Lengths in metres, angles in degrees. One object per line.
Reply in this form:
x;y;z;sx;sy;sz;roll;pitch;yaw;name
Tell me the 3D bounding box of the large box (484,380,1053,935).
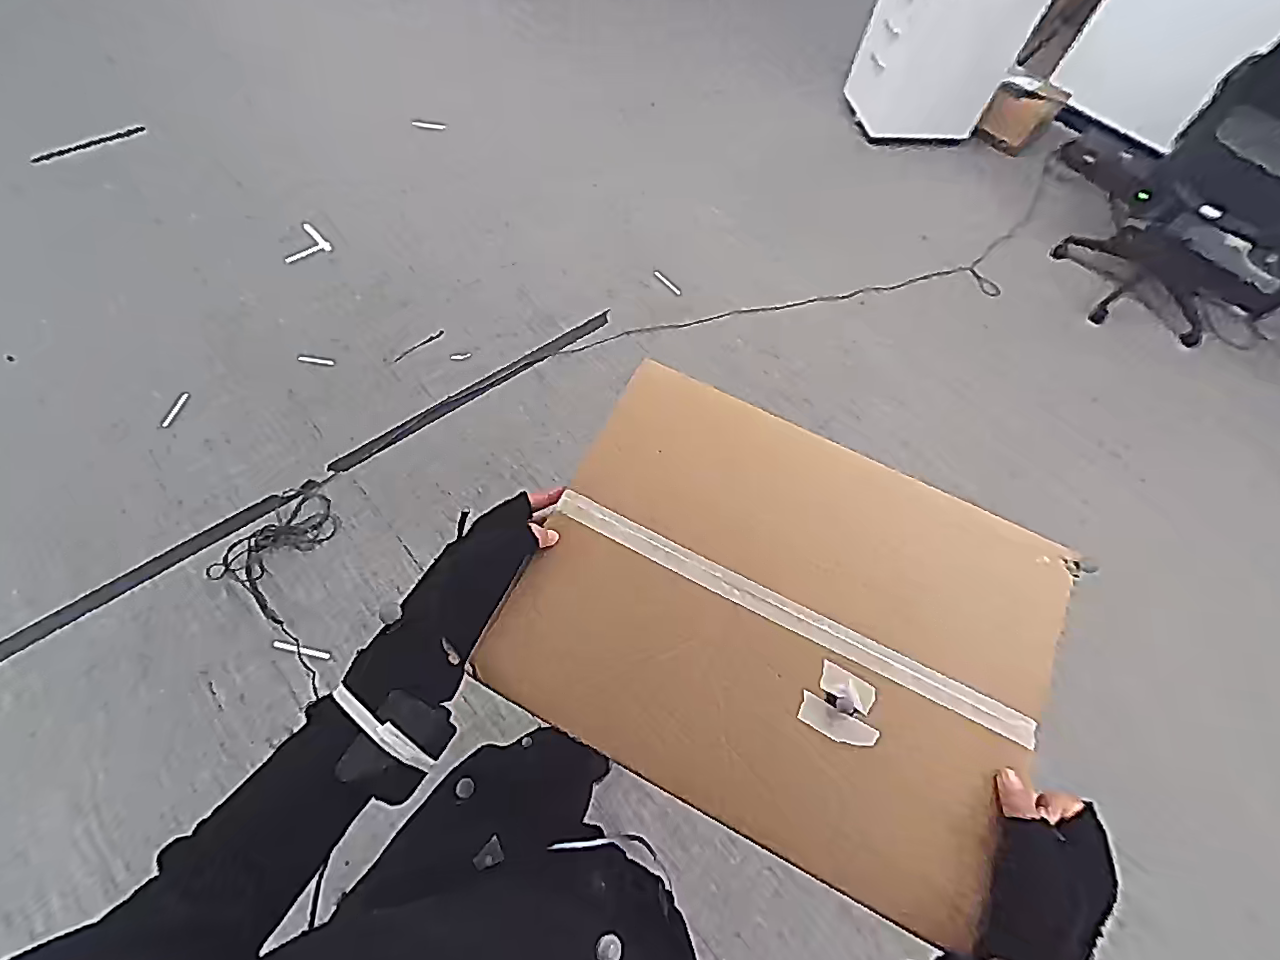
0.112;0.160;0.590;0.408;0.320;0.320;26;73;8;large box
